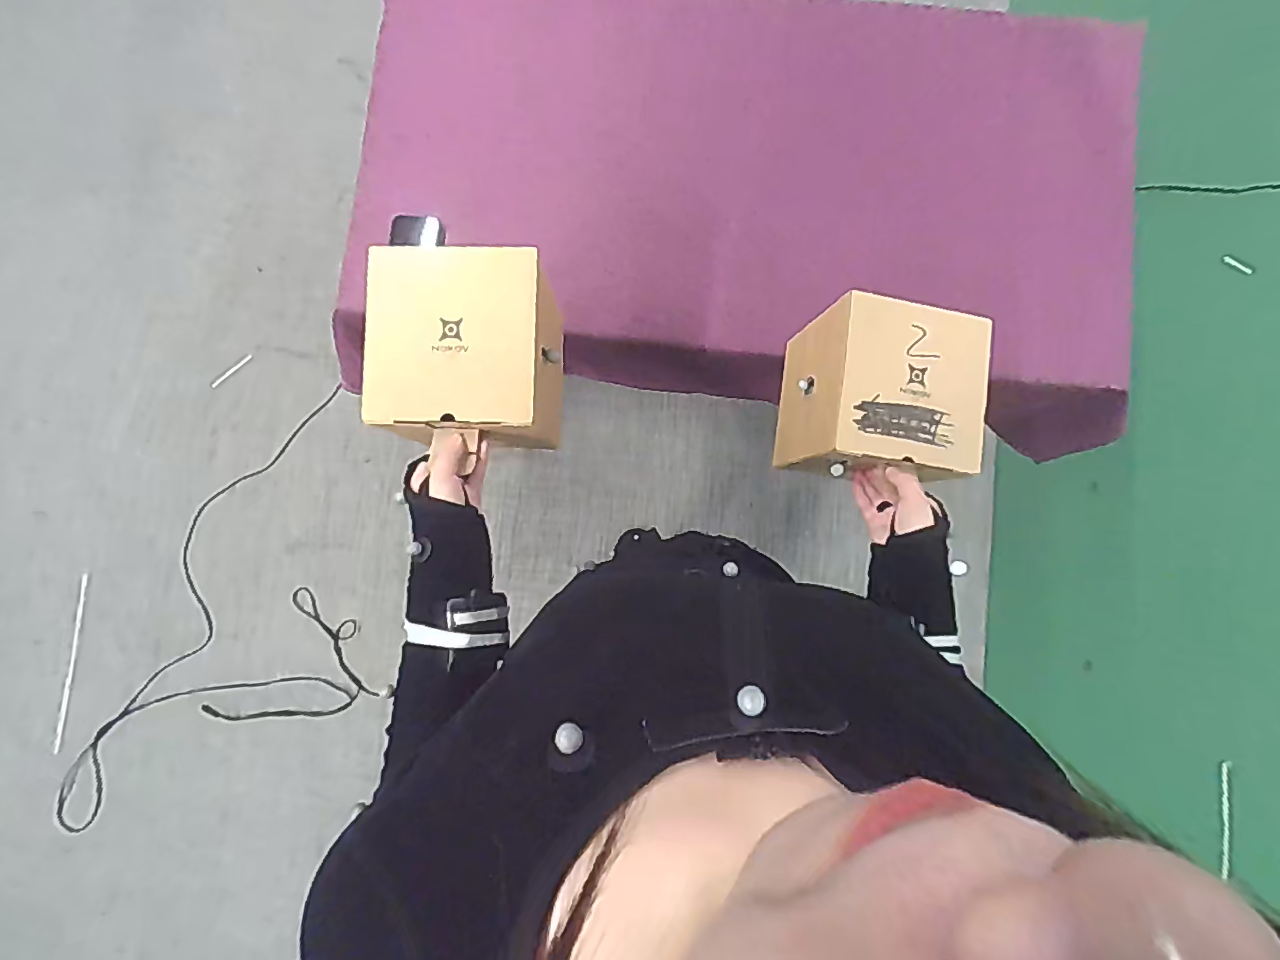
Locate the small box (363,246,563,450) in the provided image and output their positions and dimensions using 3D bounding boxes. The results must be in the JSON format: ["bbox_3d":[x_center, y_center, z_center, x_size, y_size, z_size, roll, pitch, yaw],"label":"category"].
[{"bbox_3d":[-0.179,-0.132,0.595,0.168,0.176,0.179,1,87,0],"label":"small box"}]
